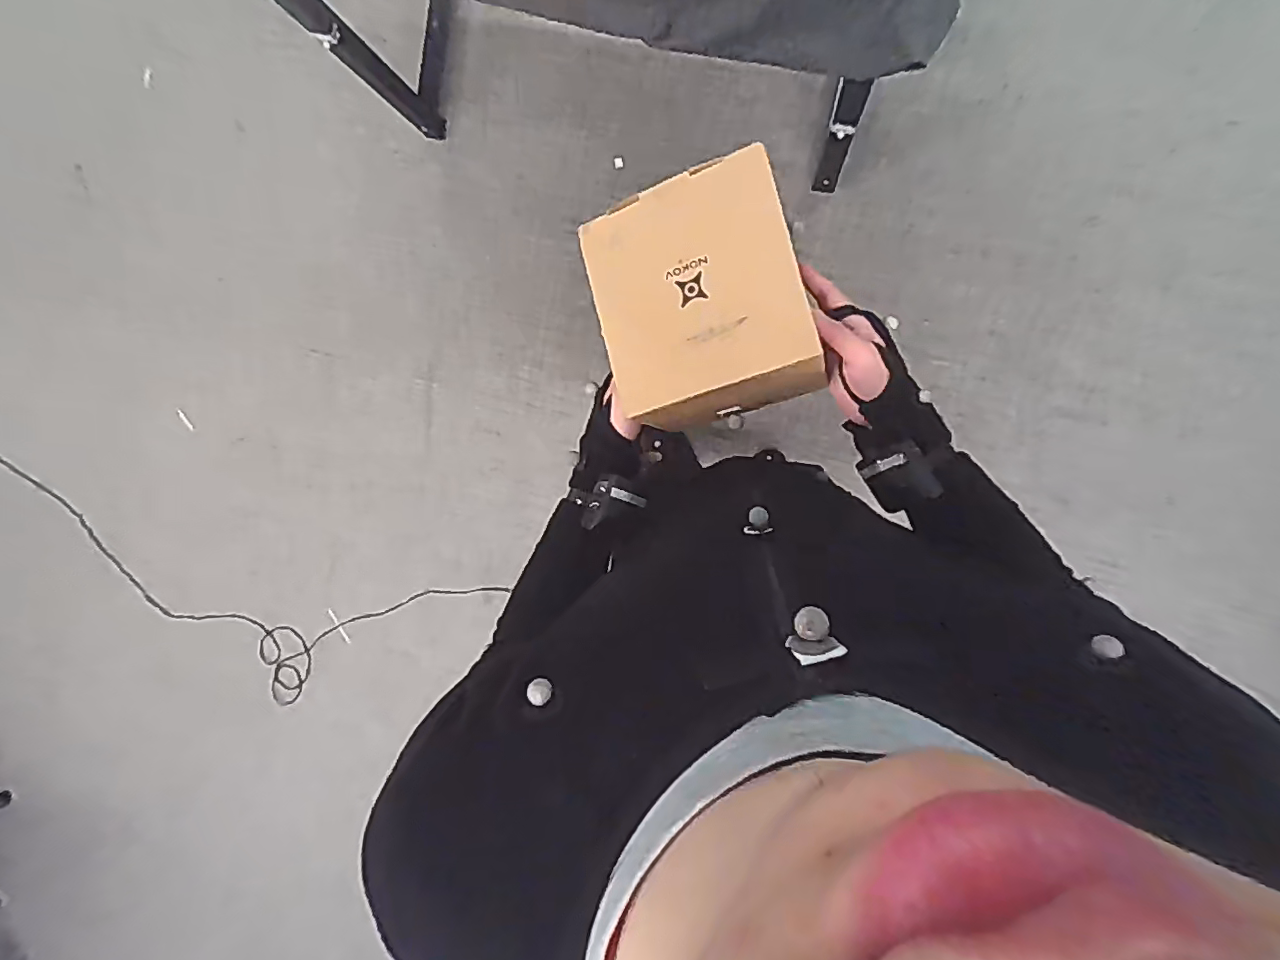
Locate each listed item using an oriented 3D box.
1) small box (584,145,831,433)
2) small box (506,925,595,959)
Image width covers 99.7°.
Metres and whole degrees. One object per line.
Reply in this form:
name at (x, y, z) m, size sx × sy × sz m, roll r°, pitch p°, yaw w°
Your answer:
small box at (0.072, -0.153, 0.505) m, size 0.168 × 0.176 × 0.179 m, roll -17°, pitch 85°, yaw 20°
small box at (-0.188, 1.012, 1.026) m, size 0.168 × 0.176 × 0.179 m, roll 6°, pitch 98°, yaw 9°
